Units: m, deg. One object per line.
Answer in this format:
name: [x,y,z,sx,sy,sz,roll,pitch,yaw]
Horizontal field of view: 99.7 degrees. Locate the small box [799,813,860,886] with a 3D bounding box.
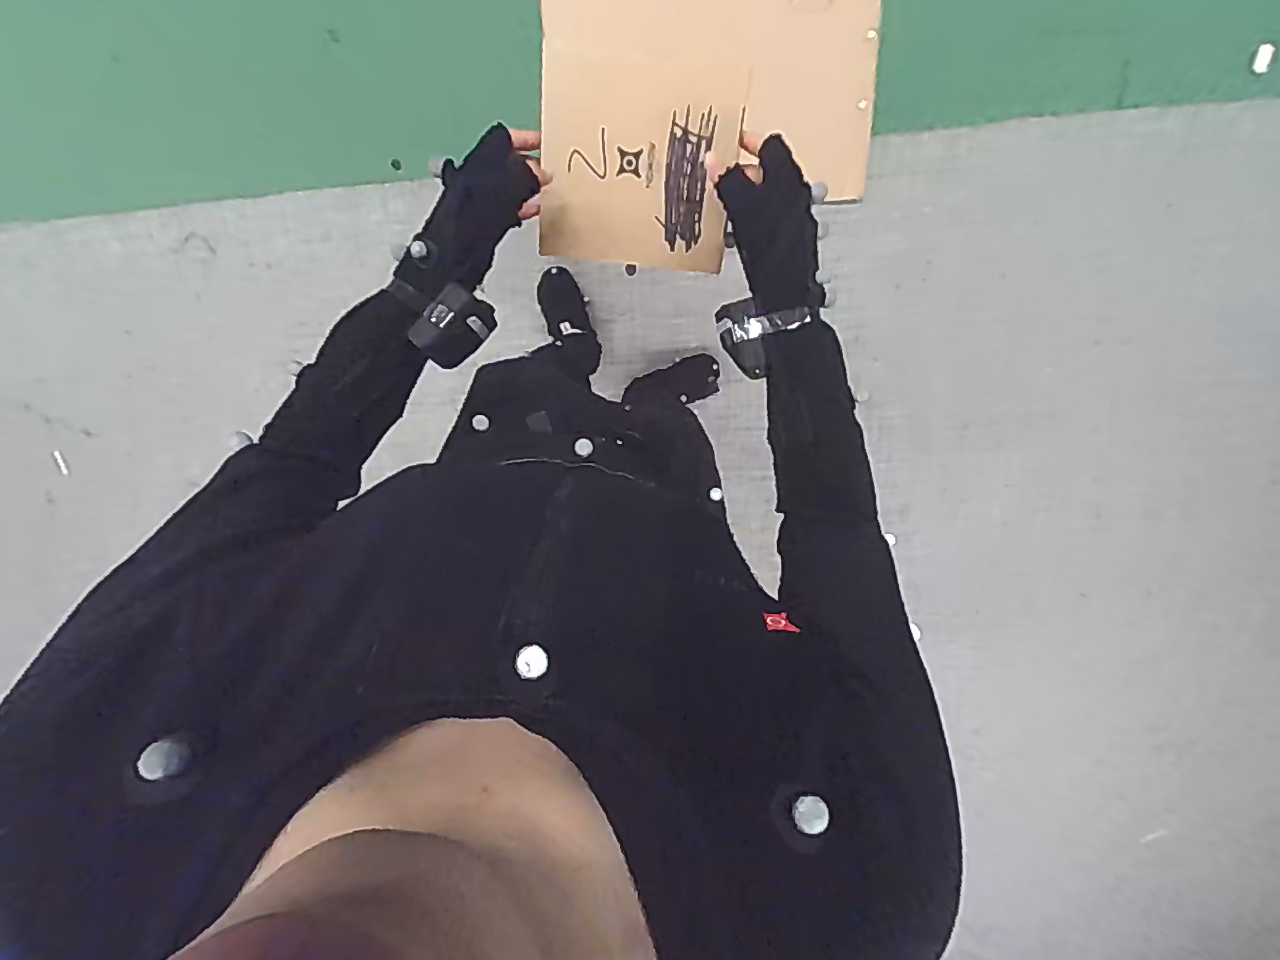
small box: [0.665,1.306,1.909,0.168,0.176,0.179,-9,111,5]
